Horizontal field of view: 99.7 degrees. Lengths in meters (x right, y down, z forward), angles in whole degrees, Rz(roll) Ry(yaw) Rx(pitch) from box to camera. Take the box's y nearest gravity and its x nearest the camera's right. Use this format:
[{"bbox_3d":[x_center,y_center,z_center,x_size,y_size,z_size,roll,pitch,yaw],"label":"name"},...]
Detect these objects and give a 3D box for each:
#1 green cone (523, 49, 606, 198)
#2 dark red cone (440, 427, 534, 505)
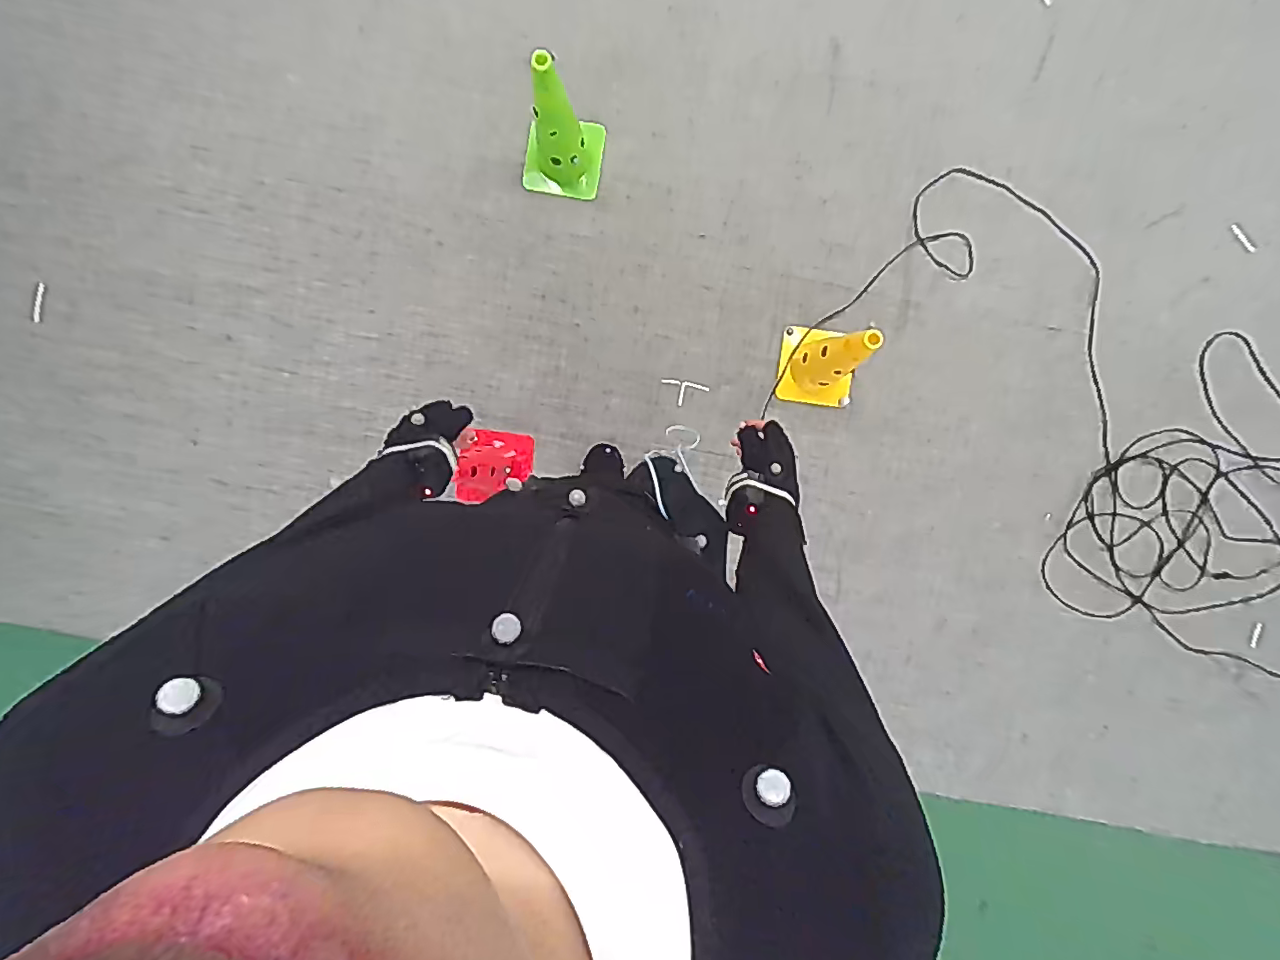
[{"bbox_3d":[-0.196,-0.851,1.261,0.202,0.368,0.200,9,93,-2],"label":"green cone"},{"bbox_3d":[-0.387,-0.025,1.275,0.202,0.394,0.201,5,94,0],"label":"dark red cone"}]
